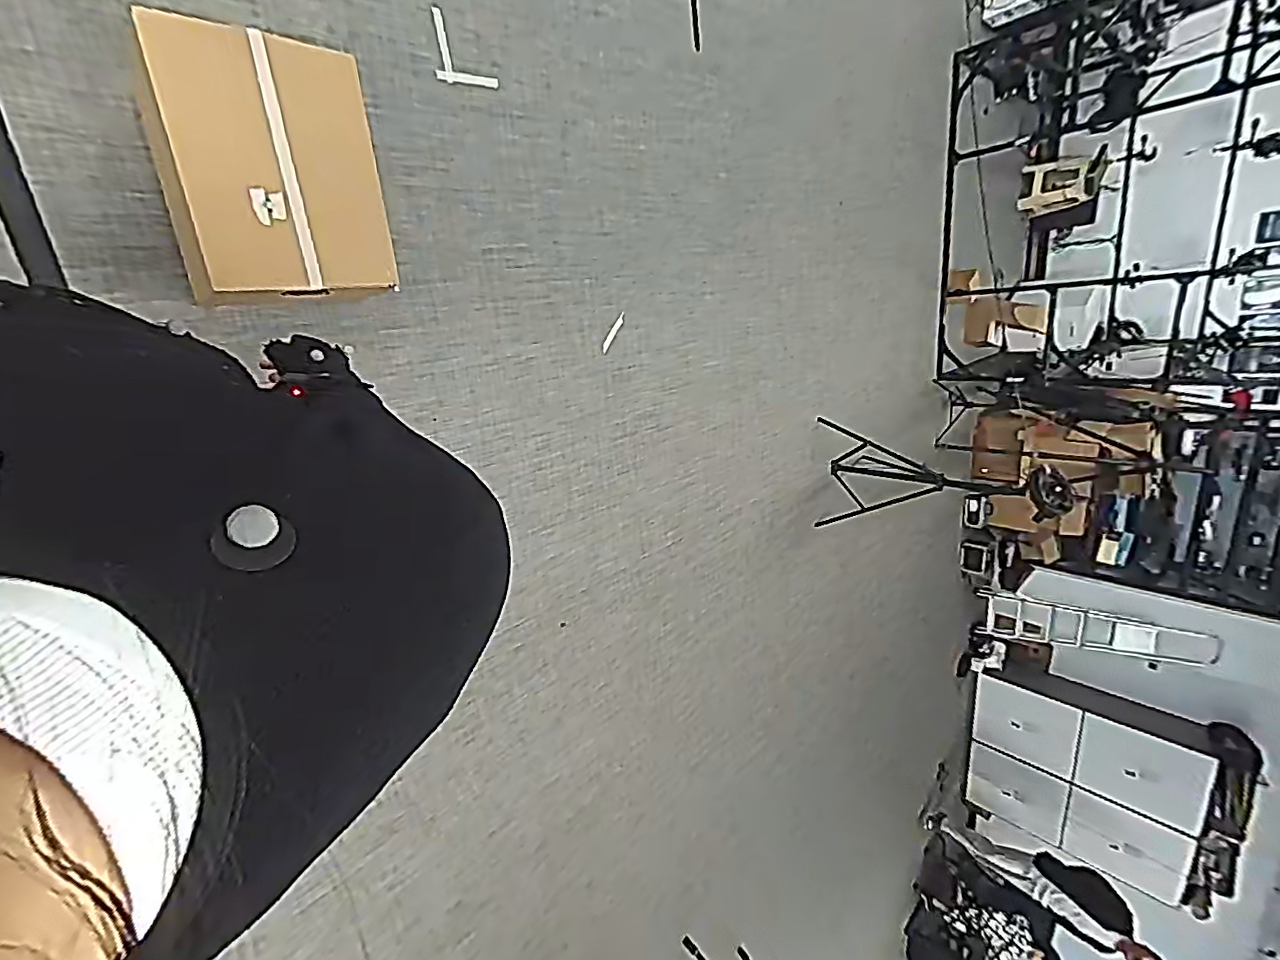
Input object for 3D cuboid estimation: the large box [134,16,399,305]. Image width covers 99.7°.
[{"bbox_3d":[-0.722,-0.569,1.060,0.320,0.320,0.408,-18,112,-38],"label":"large box"}]
